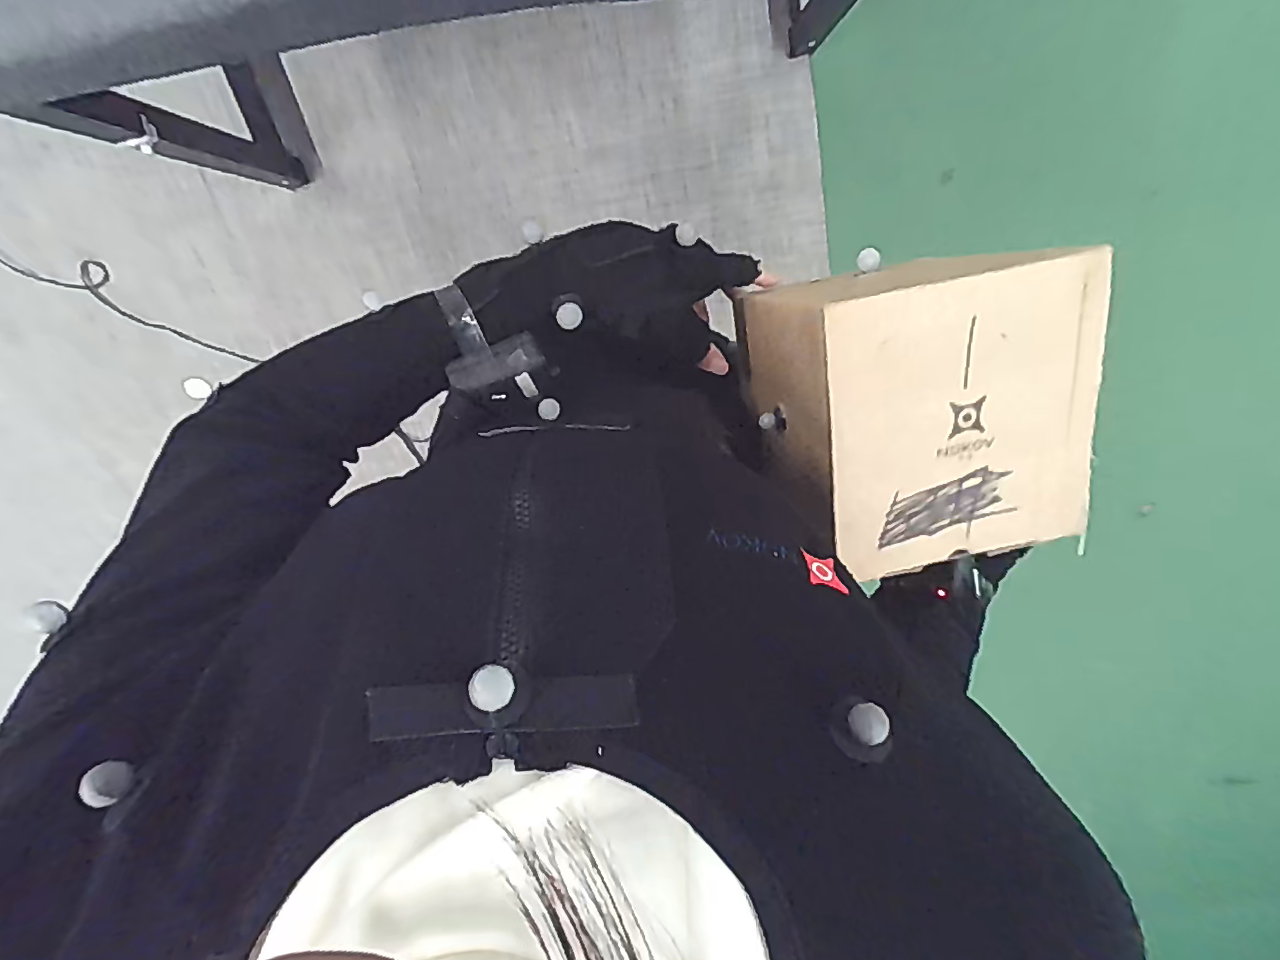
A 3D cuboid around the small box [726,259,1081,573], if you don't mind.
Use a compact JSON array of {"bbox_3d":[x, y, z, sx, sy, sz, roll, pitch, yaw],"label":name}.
[{"bbox_3d":[0.171,-0.058,0.404,0.168,0.176,0.179,-11,110,-6],"label":"small box"}]
